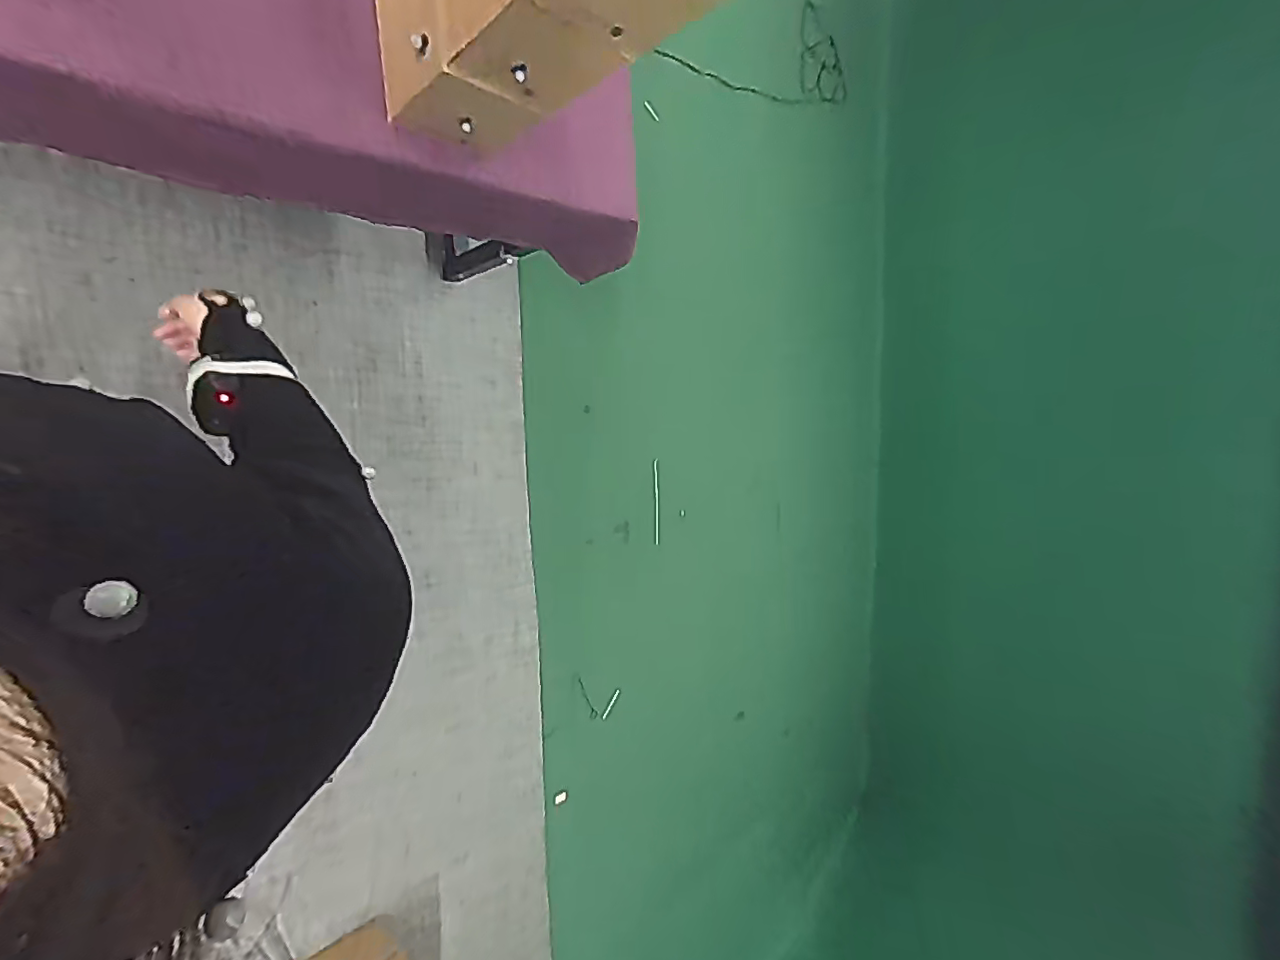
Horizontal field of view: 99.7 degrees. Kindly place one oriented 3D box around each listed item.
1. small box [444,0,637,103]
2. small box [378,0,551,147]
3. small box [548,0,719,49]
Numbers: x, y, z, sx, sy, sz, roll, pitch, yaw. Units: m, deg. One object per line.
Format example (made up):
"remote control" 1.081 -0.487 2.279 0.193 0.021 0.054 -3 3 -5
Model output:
"small box" -0.122 -0.598 0.643 0.168 0.176 0.179 -11 103 -46
"small box" -0.244 -0.600 0.751 0.168 0.176 0.179 -12 102 -46
"small box" -0.002 -0.584 0.531 0.168 0.176 0.179 -16 105 -44
